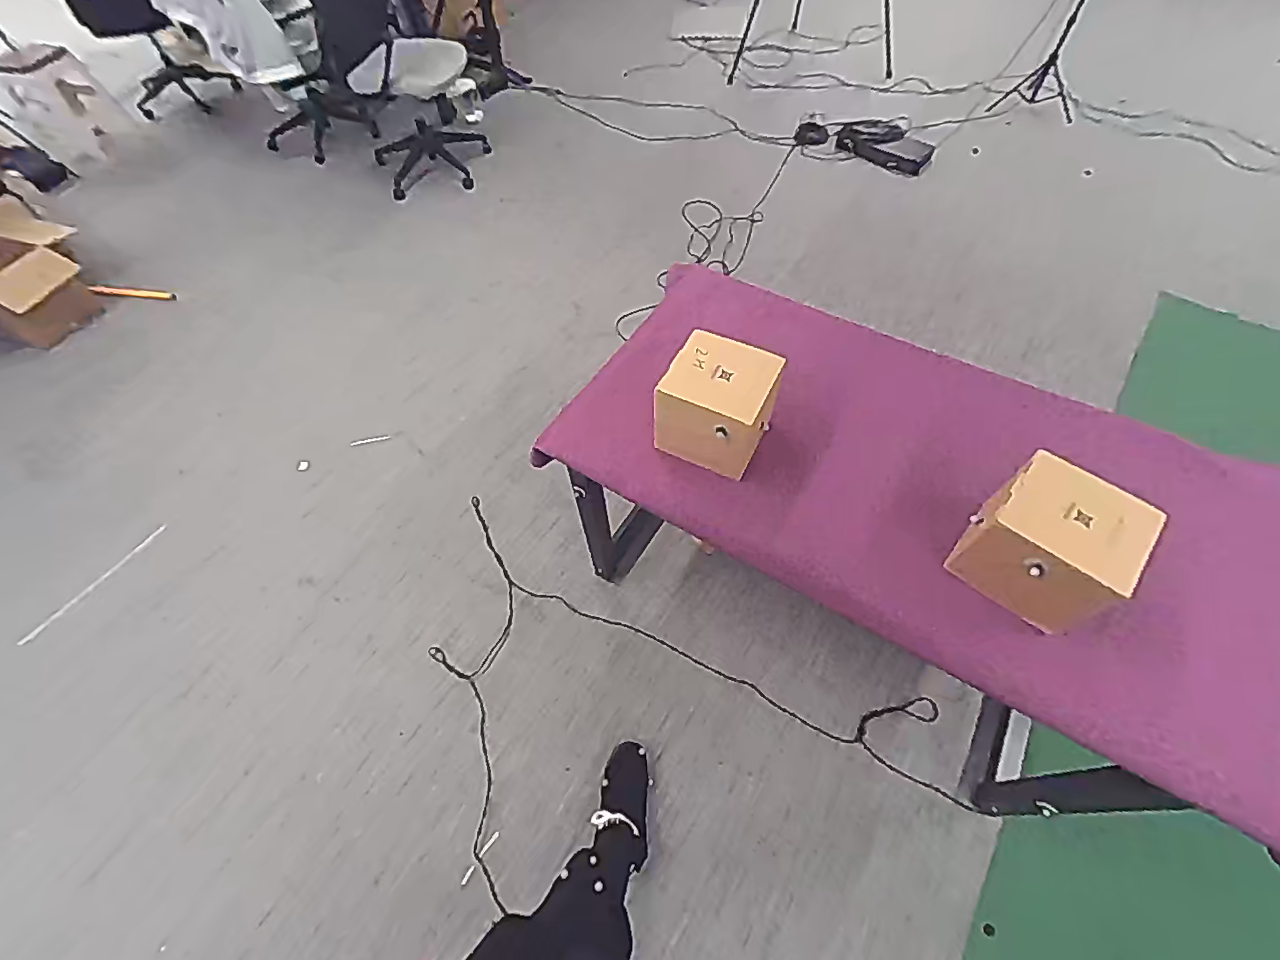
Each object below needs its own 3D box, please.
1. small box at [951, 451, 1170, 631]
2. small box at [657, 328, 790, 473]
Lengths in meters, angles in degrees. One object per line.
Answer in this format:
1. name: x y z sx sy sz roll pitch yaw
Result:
1. small box: 0.611 0.097 0.810 0.179 0.176 0.168 38 66 23
2. small box: 0.144 -0.136 0.972 0.179 0.176 0.168 24 61 16
